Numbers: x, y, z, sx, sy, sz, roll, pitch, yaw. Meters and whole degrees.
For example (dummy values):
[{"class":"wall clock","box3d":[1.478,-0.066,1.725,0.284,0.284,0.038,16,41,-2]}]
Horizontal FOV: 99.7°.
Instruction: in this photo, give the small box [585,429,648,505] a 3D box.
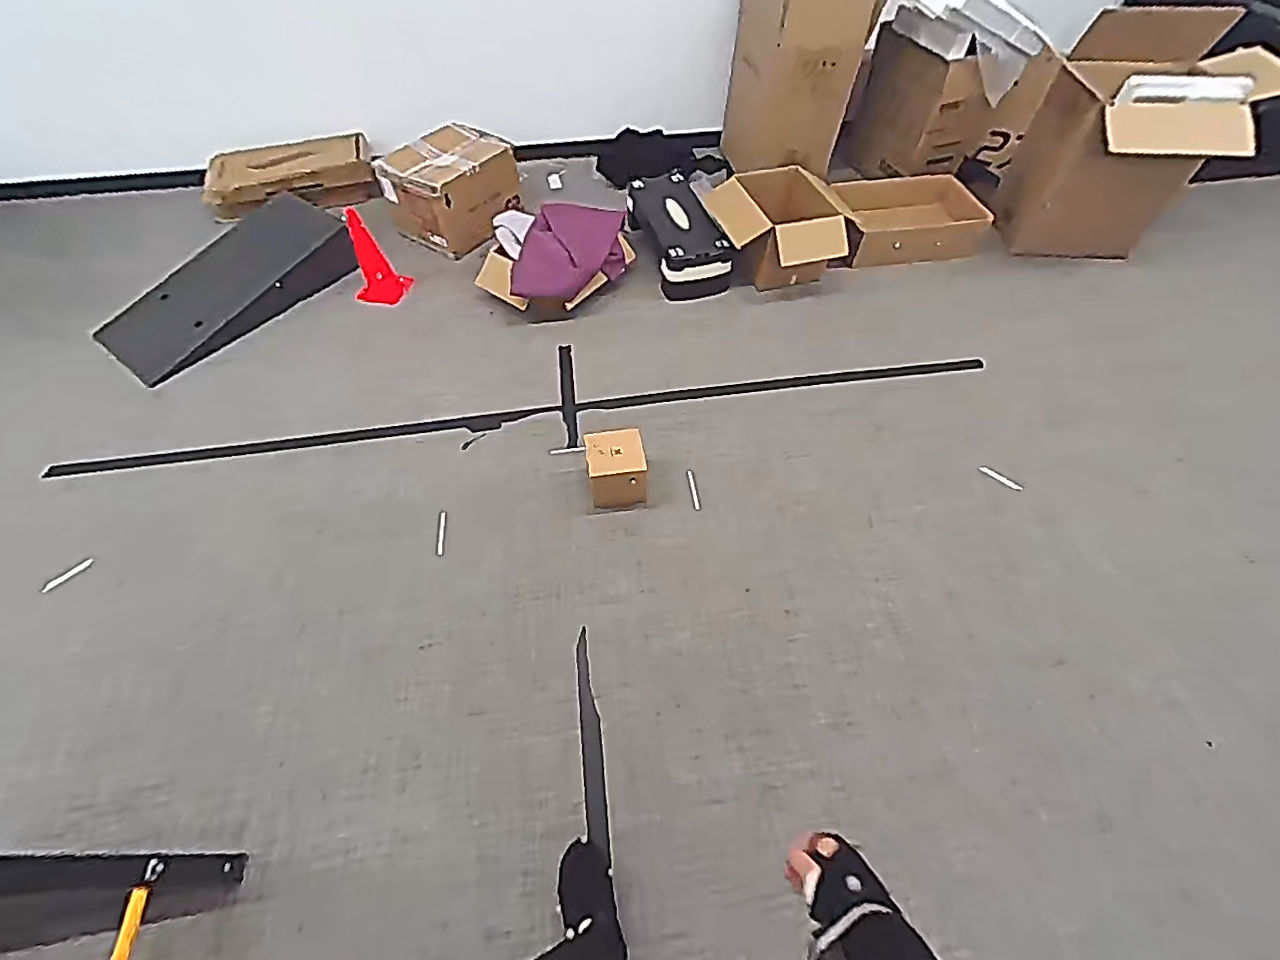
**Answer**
[{"class":"small box","box3d":[-0.075,-0.038,1.711,0.179,0.176,0.168,-8,56,-5]}]
